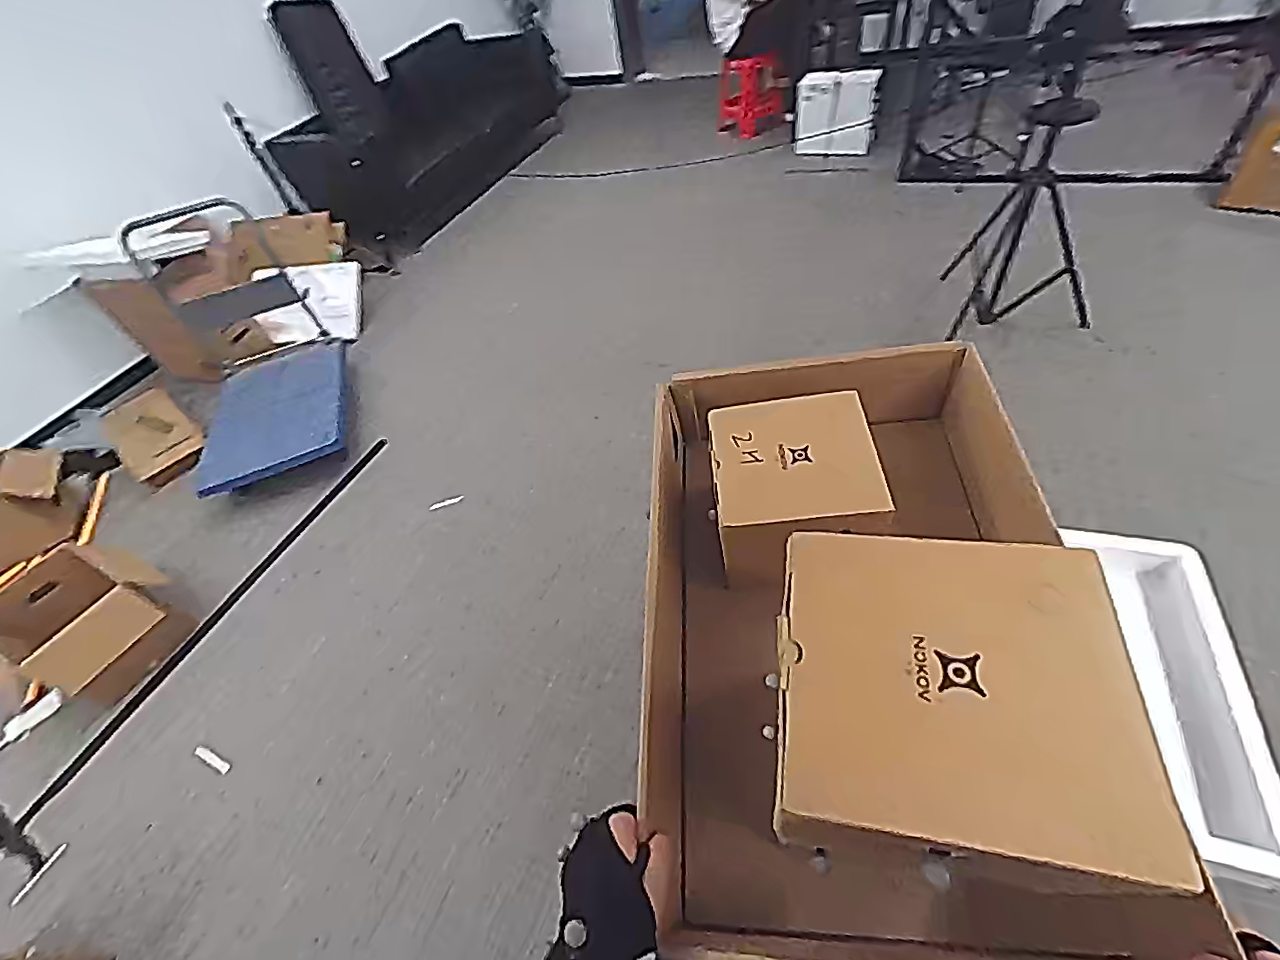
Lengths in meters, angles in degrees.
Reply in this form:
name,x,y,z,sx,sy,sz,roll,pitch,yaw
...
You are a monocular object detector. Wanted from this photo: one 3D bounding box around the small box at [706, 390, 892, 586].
name,x,y,z,sx,sy,sz,roll,pitch,yaw
small box,0.178,0.017,0.653,0.179,0.176,0.168,-7,54,8
